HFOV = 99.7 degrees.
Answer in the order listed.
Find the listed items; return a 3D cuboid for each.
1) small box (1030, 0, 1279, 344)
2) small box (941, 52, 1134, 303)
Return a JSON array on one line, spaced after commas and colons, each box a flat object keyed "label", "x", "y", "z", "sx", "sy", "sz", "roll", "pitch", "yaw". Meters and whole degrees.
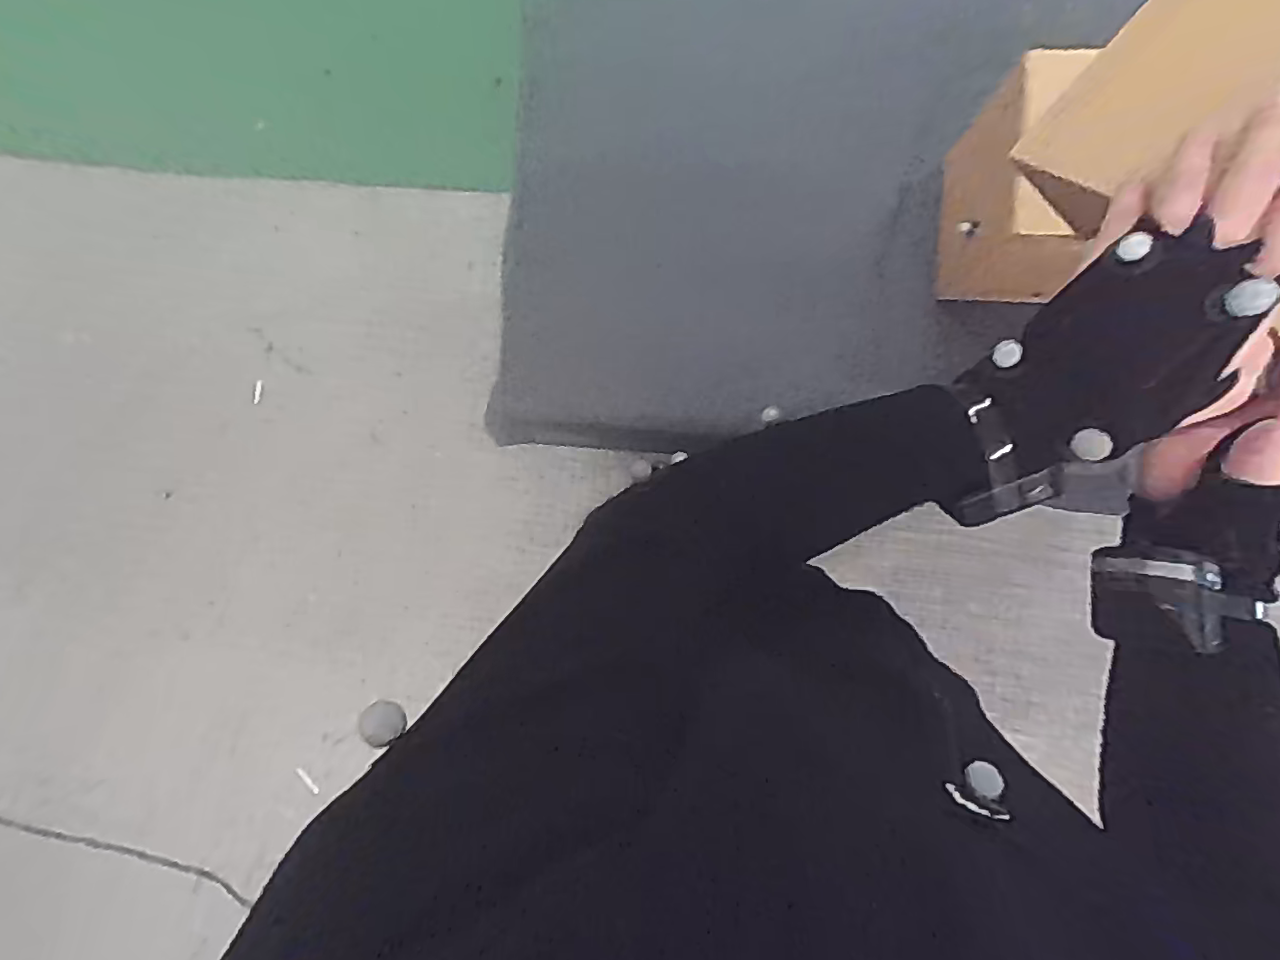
[{"label": "small box", "x": 0.381, "y": -0.204, "z": 0.301, "sx": 0.168, "sy": 0.176, "sz": 0.179, "roll": 23, "pitch": 124, "yaw": -25}, {"label": "small box", "x": 0.439, "y": -0.298, "z": 0.566, "sx": 0.168, "sy": 0.176, "sz": 0.179, "roll": 4, "pitch": 87, "yaw": 5}]
